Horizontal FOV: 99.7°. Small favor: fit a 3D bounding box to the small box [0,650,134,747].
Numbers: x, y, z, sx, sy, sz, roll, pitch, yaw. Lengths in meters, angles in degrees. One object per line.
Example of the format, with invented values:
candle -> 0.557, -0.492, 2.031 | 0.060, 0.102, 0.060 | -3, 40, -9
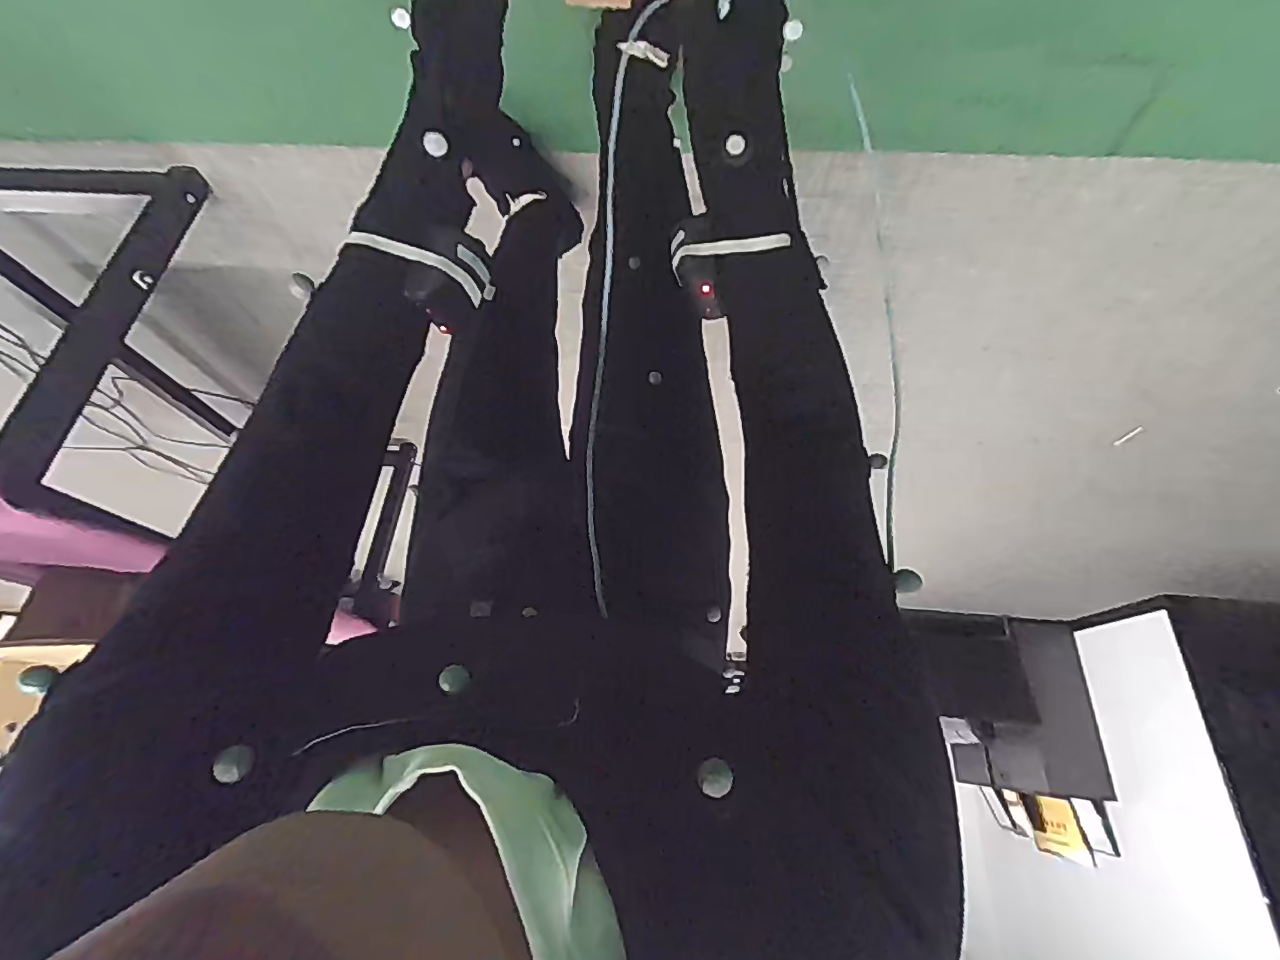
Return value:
small box -> -1.250, 0.466, 1.159 | 0.179, 0.176, 0.168 | 7, 156, 2
